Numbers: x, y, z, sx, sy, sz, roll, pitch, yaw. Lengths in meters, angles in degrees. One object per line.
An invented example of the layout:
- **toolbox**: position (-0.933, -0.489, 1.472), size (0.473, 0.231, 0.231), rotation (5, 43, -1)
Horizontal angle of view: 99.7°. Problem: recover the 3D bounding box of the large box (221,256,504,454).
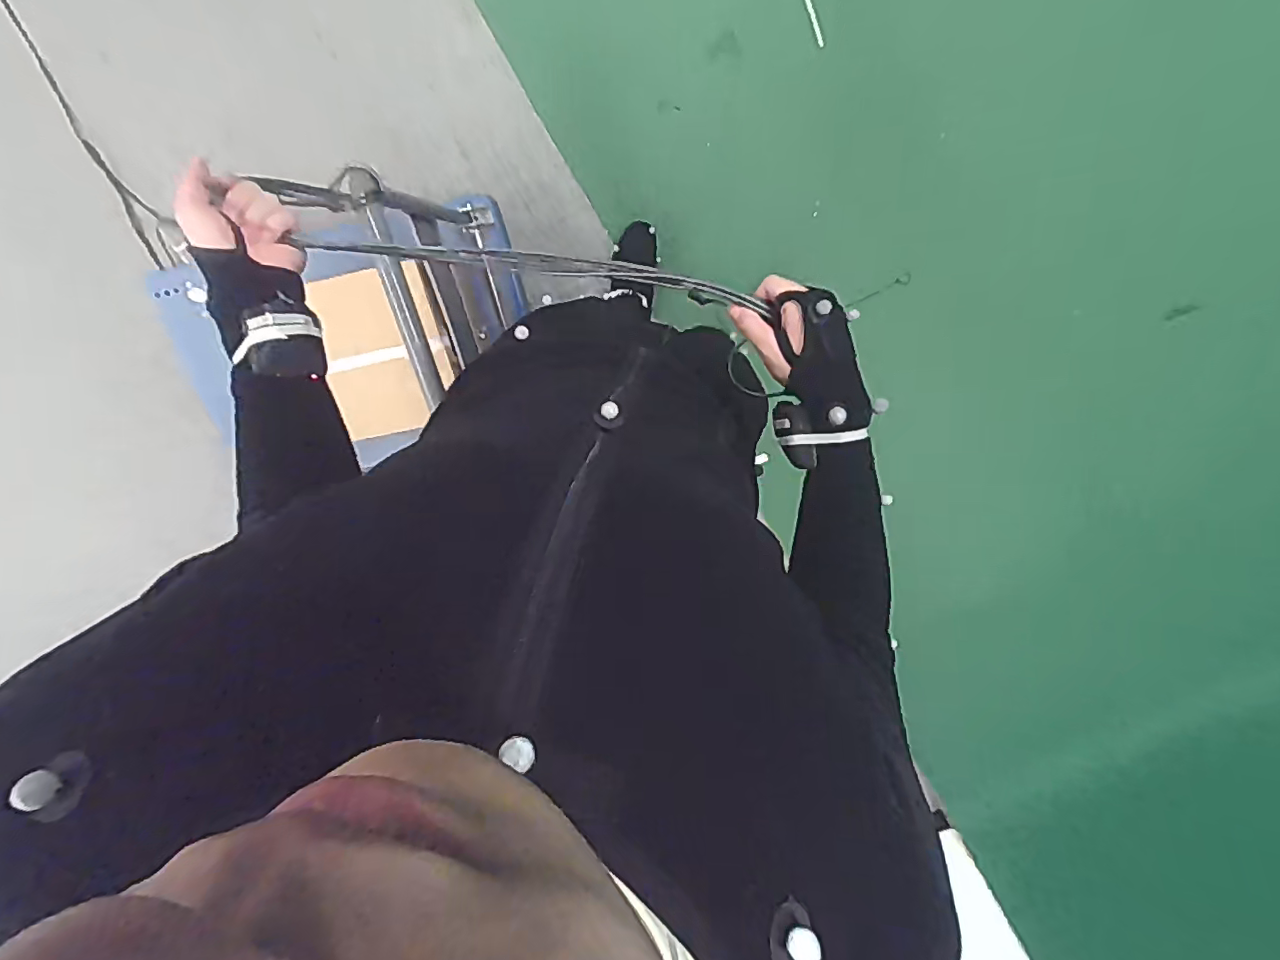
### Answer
- **large box**: position (-0.567, -0.288, 1.196), size (0.408, 0.320, 0.320), rotation (-11, 112, 5)
